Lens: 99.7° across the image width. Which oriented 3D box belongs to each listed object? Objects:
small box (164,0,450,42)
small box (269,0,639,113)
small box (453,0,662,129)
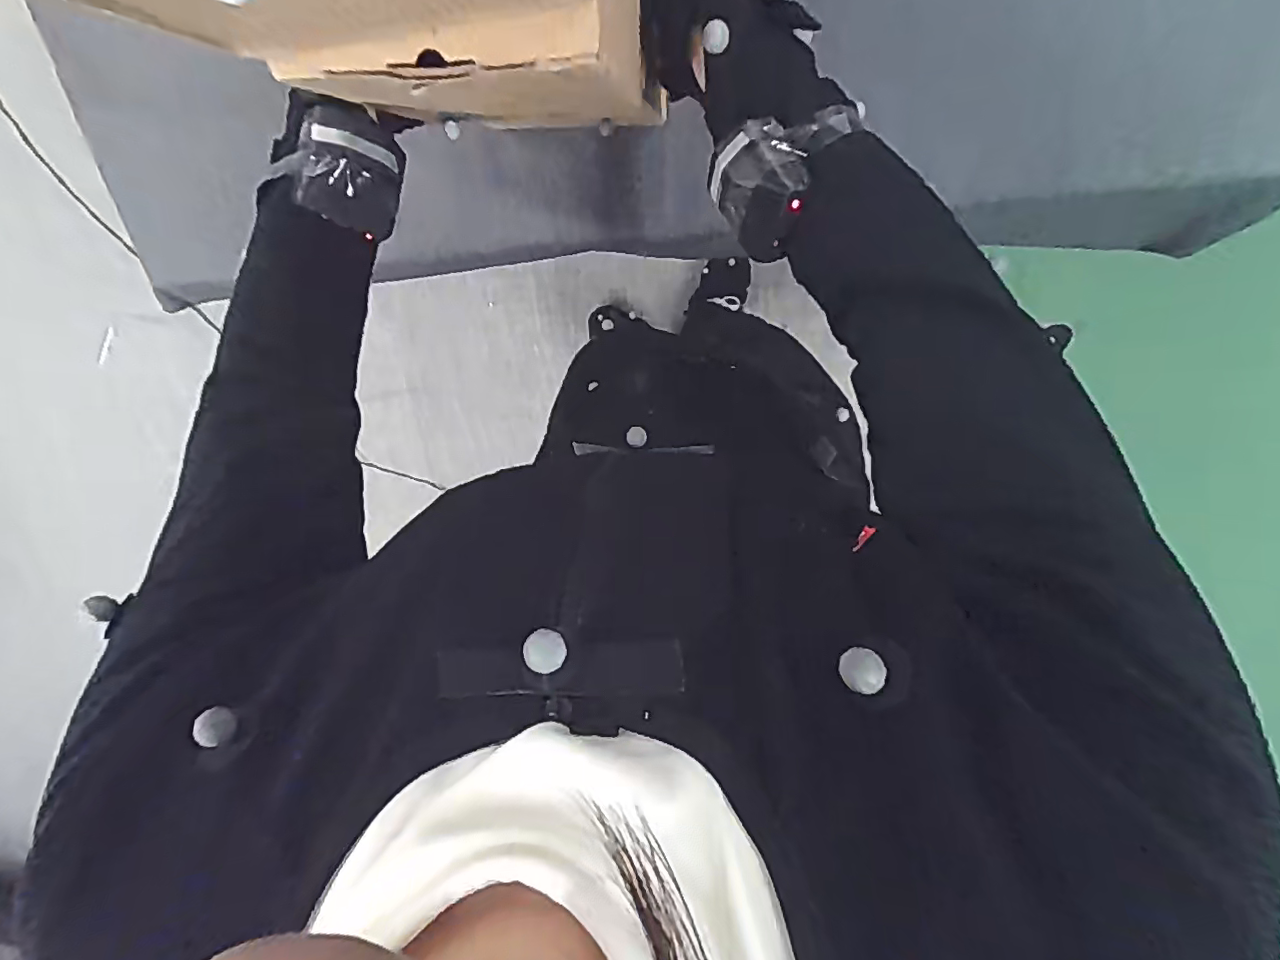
[{"bbox_3d":[-0.124,-0.254,0.143,0.179,0.176,0.168,-6,113,9],"label":"small box"},{"bbox_3d":[-0.095,-0.312,0.291,0.168,0.176,0.179,0,117,9],"label":"small box"},{"bbox_3d":[-0.073,-0.391,0.433,0.179,0.176,0.168,3,116,8],"label":"small box"}]
